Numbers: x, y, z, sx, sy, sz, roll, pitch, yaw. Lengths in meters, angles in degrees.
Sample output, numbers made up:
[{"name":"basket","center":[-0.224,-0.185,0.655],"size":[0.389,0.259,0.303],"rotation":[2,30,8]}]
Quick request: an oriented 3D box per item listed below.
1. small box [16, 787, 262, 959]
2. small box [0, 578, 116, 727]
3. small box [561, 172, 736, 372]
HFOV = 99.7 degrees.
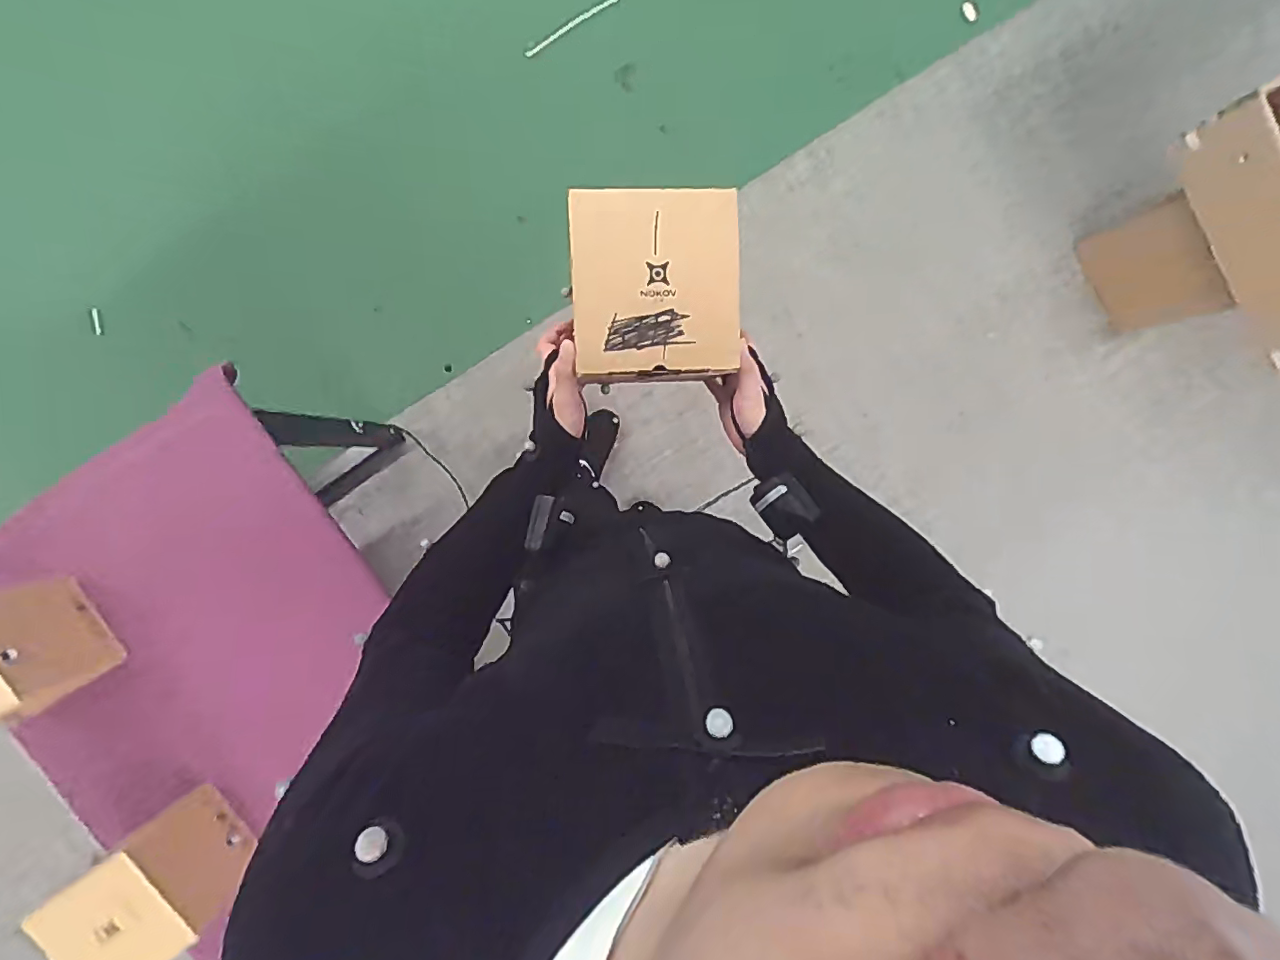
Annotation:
[{"name":"small box","center":[-0.733,0.618,0.816],"size":[0.179,0.176,0.168],"rotation":[-35,95,-1]},{"name":"small box","center":[-0.949,0.269,0.789],"size":[0.179,0.176,0.168],"rotation":[-32,95,0]},{"name":"small box","center":[0.003,-0.209,0.591],"size":[0.168,0.176,0.179],"rotation":[-2,98,-5]}]
